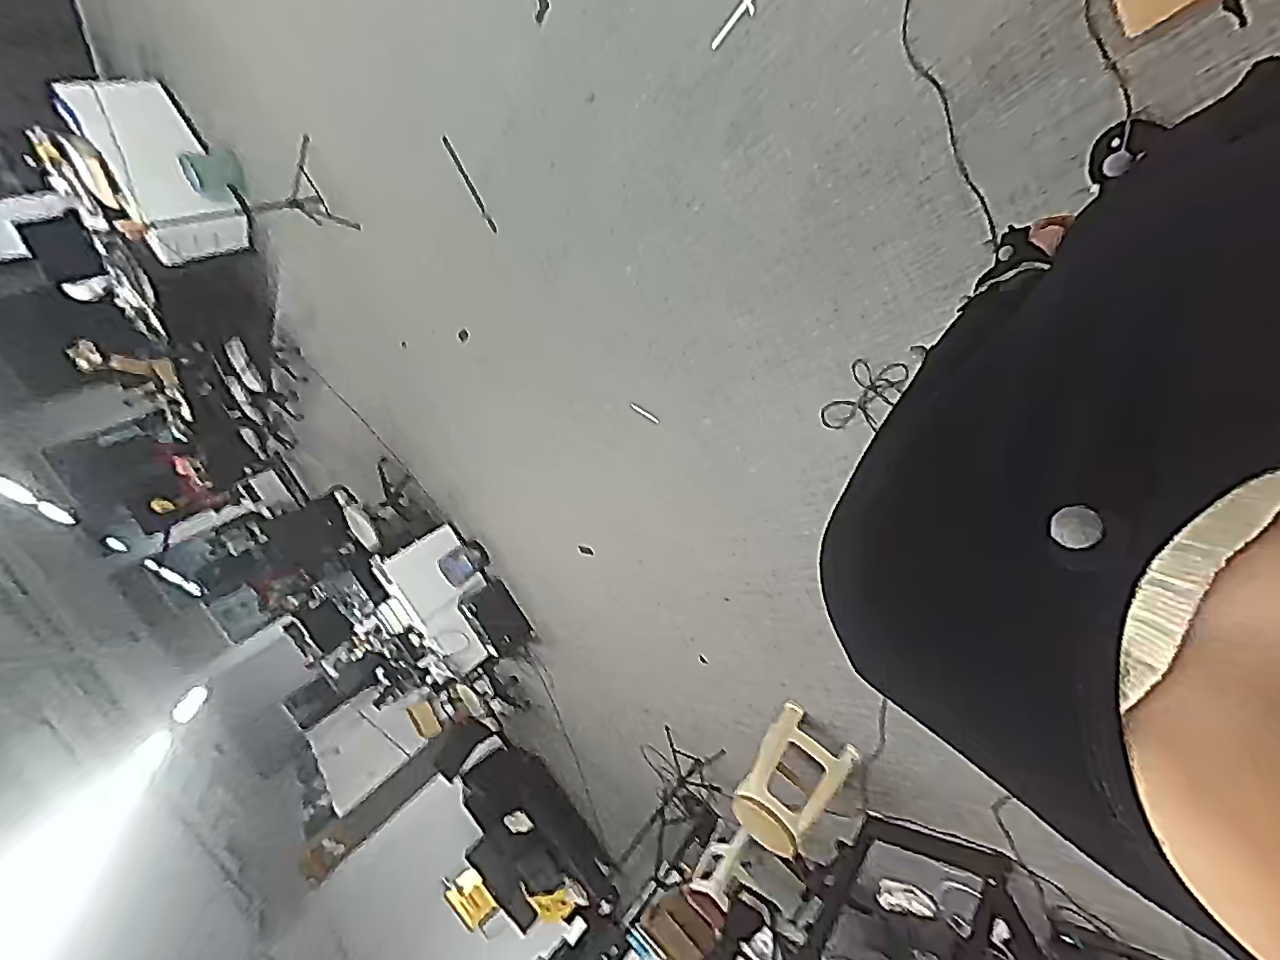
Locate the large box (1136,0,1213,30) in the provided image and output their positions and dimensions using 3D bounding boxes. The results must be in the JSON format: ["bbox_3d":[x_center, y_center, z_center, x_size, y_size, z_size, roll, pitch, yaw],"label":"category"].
[{"bbox_3d":[0.747,-0.793,0.568,0.408,0.320,0.320,-18,105,52],"label":"large box"}]
